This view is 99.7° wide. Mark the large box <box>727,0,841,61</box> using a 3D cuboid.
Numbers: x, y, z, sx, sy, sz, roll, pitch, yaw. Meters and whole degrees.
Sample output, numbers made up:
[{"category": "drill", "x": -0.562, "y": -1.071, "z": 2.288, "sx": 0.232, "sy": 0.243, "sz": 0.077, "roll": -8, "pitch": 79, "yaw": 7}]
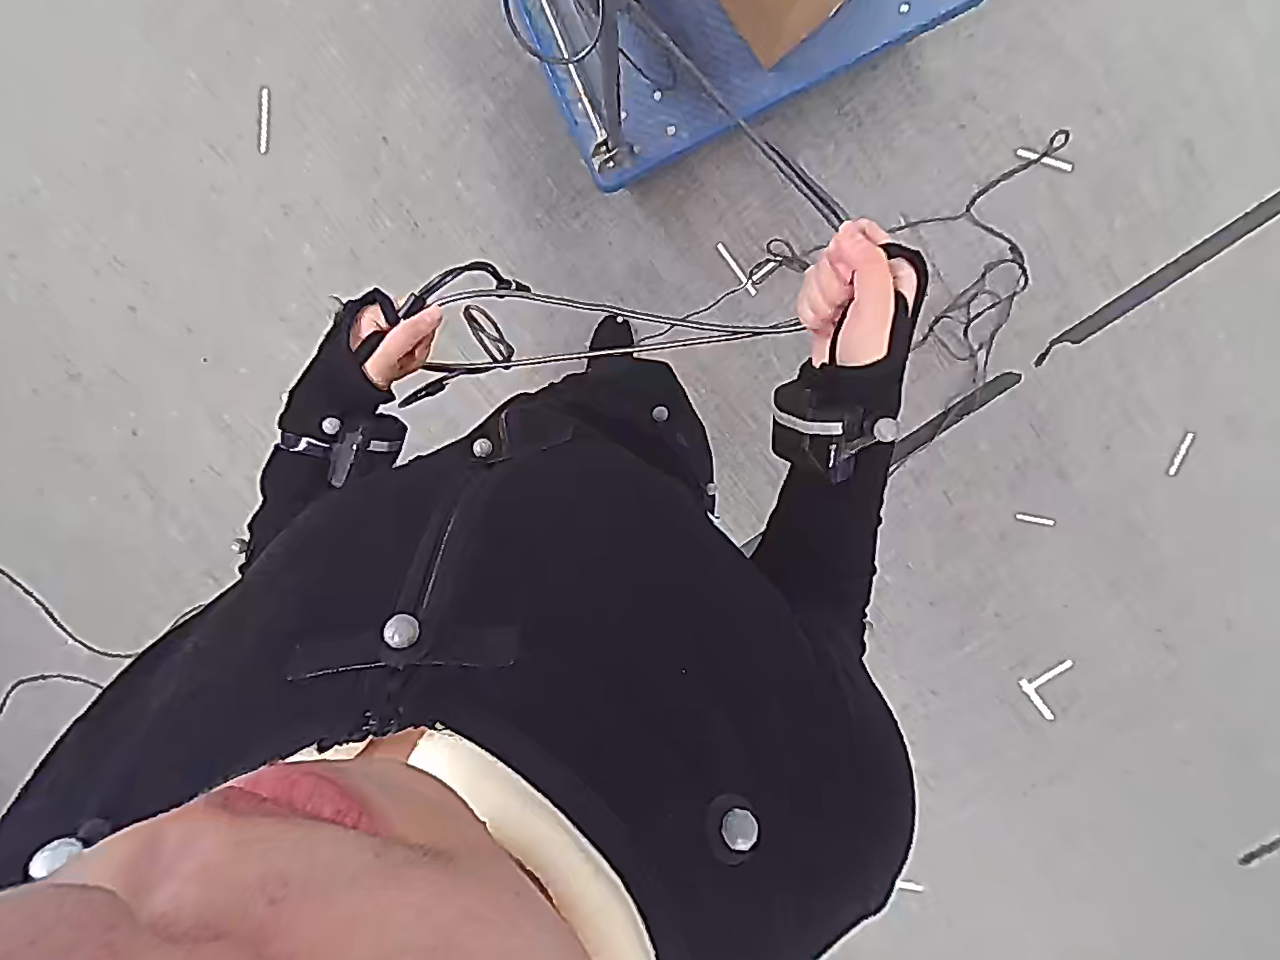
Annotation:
[{"category": "large box", "x": 0.247, "y": -1.032, "z": 0.875, "sx": 0.320, "sy": 0.320, "sz": 0.408, "roll": -38, "pitch": 101, "yaw": 11}]
